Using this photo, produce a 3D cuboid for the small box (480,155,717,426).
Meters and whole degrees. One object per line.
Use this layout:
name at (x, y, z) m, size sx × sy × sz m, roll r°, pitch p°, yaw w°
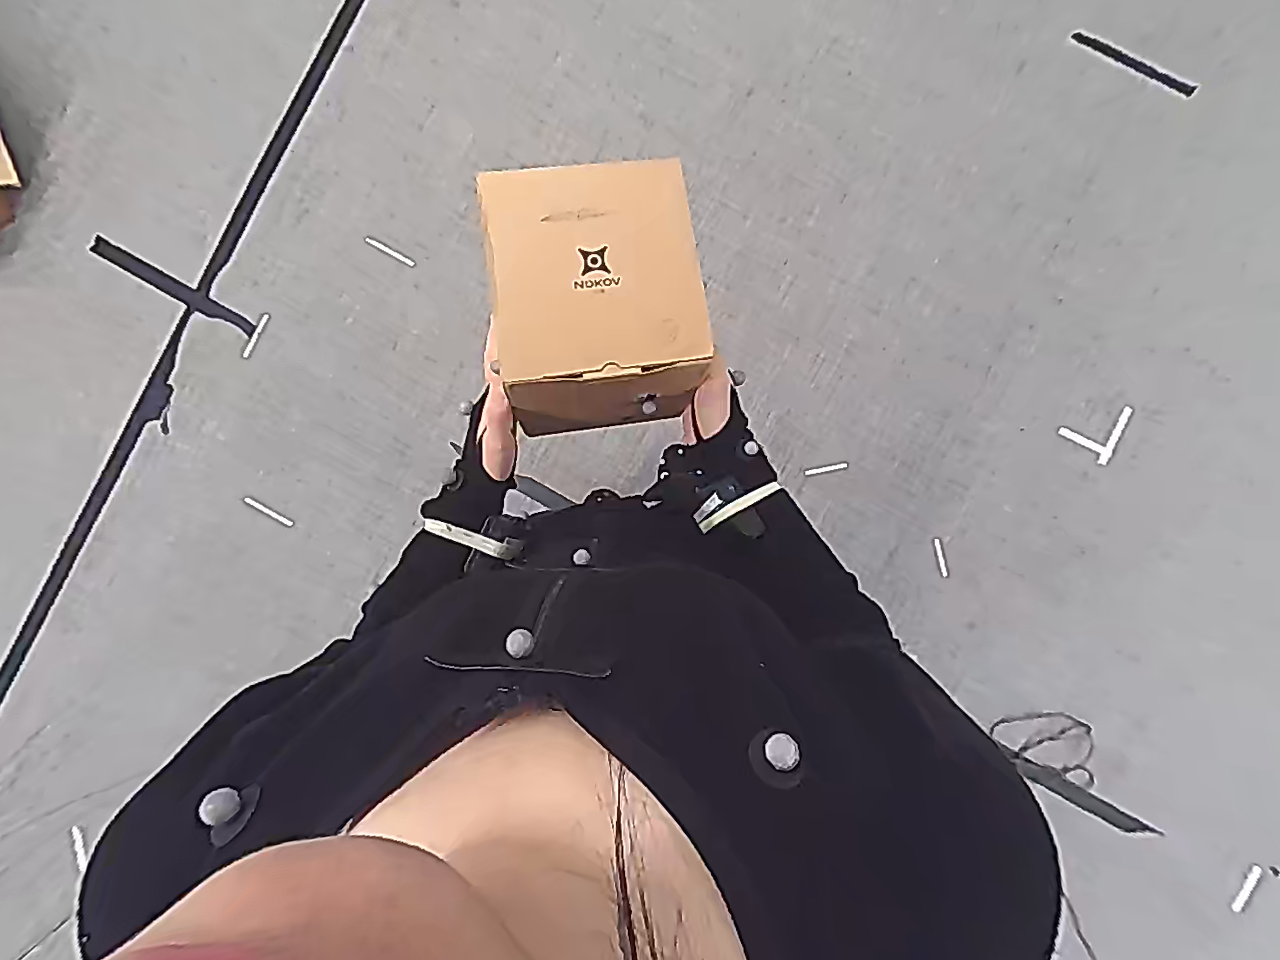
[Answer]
small box at (-0.040, -0.154, 0.494) m, size 0.168 × 0.176 × 0.179 m, roll -8°, pitch 81°, yaw -8°
